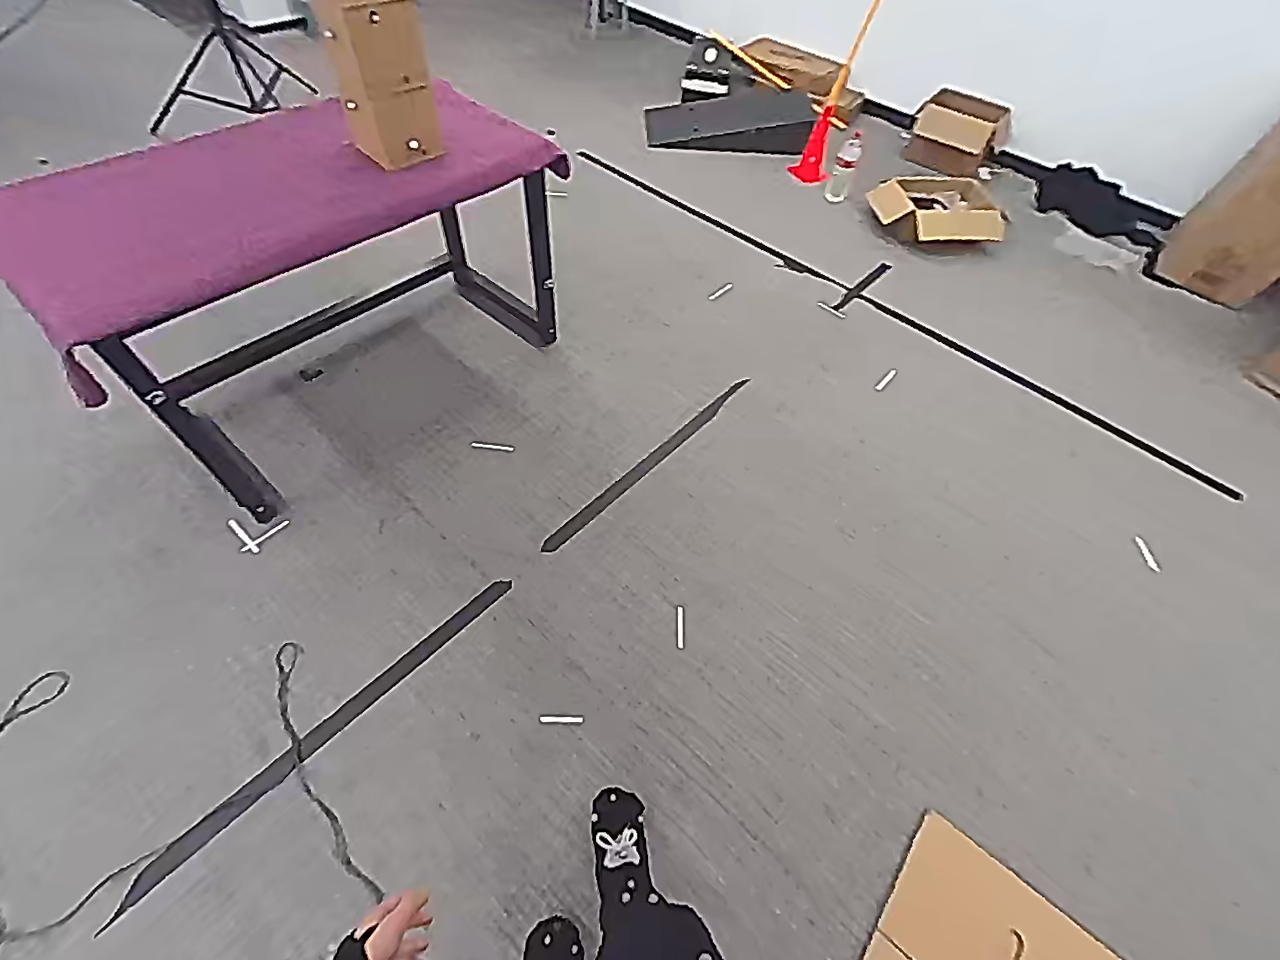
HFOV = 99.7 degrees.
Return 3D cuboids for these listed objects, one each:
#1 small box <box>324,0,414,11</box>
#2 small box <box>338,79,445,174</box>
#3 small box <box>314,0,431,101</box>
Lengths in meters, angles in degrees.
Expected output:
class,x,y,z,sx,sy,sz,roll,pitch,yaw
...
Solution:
class,x,y,z,sx,sy,sz,roll,pitch,yaw
small box,-0.604,-1.110,1.130,0.168,0.176,0.179,-36,65,-25
small box,-0.636,-0.929,1.401,0.179,0.176,0.168,41,62,21
small box,-0.621,-1.020,1.266,0.168,0.176,0.179,-36,64,-25
